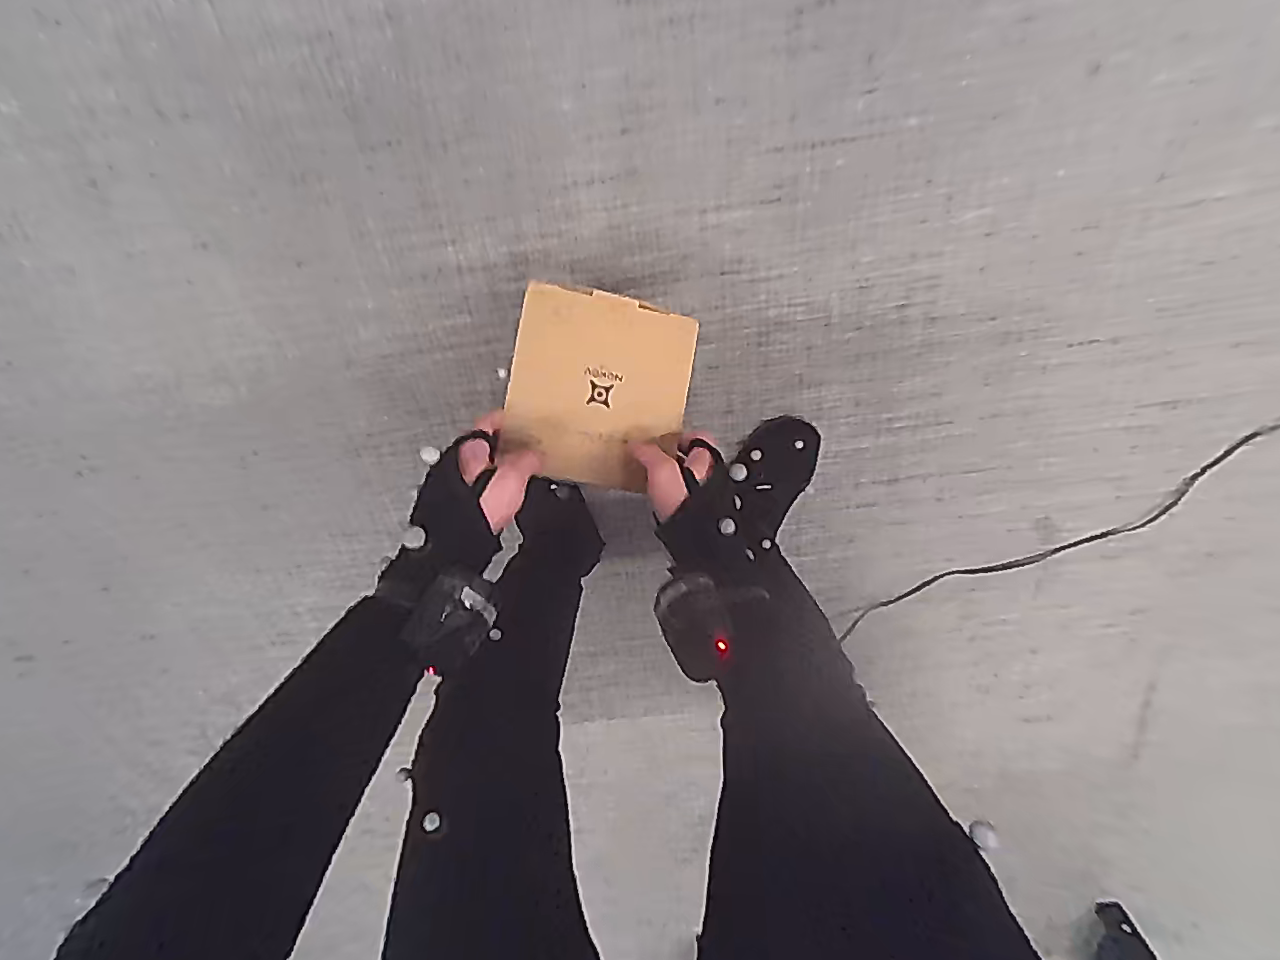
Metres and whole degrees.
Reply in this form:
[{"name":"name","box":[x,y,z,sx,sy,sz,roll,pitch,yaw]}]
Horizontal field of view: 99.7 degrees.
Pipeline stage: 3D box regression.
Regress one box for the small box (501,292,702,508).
[{"name":"small box","box":[-0.045,-0.070,0.571,0.168,0.176,0.179,9,88,-9]}]
